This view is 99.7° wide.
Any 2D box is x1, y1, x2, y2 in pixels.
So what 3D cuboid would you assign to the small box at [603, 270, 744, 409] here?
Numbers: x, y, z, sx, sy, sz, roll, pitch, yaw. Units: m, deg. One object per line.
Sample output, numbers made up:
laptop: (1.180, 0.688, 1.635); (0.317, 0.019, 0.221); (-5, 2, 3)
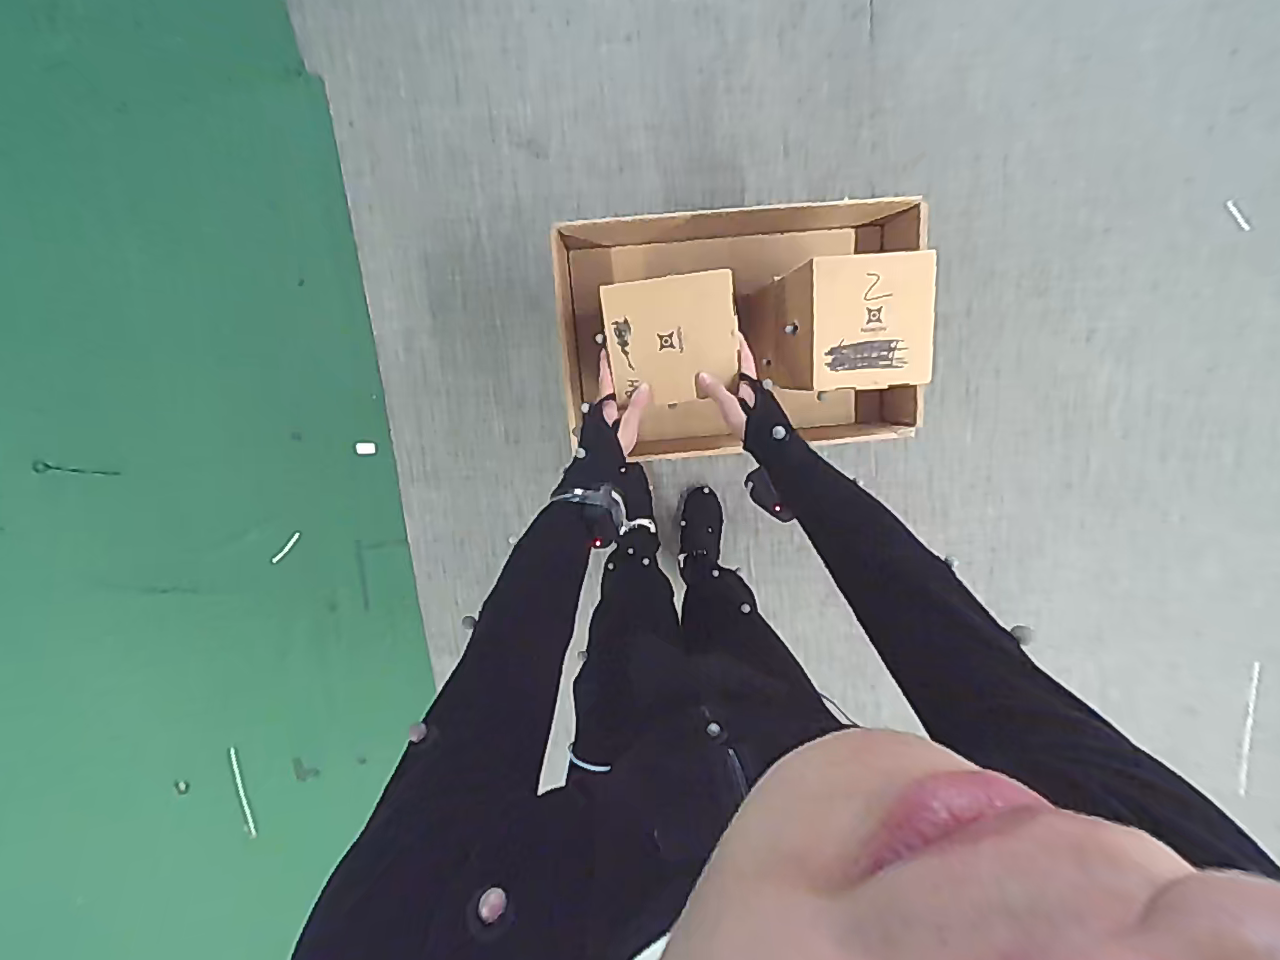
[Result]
small box: (0.042, -0.200, 0.790); (0.179, 0.176, 0.168); (-7, 101, 0)
